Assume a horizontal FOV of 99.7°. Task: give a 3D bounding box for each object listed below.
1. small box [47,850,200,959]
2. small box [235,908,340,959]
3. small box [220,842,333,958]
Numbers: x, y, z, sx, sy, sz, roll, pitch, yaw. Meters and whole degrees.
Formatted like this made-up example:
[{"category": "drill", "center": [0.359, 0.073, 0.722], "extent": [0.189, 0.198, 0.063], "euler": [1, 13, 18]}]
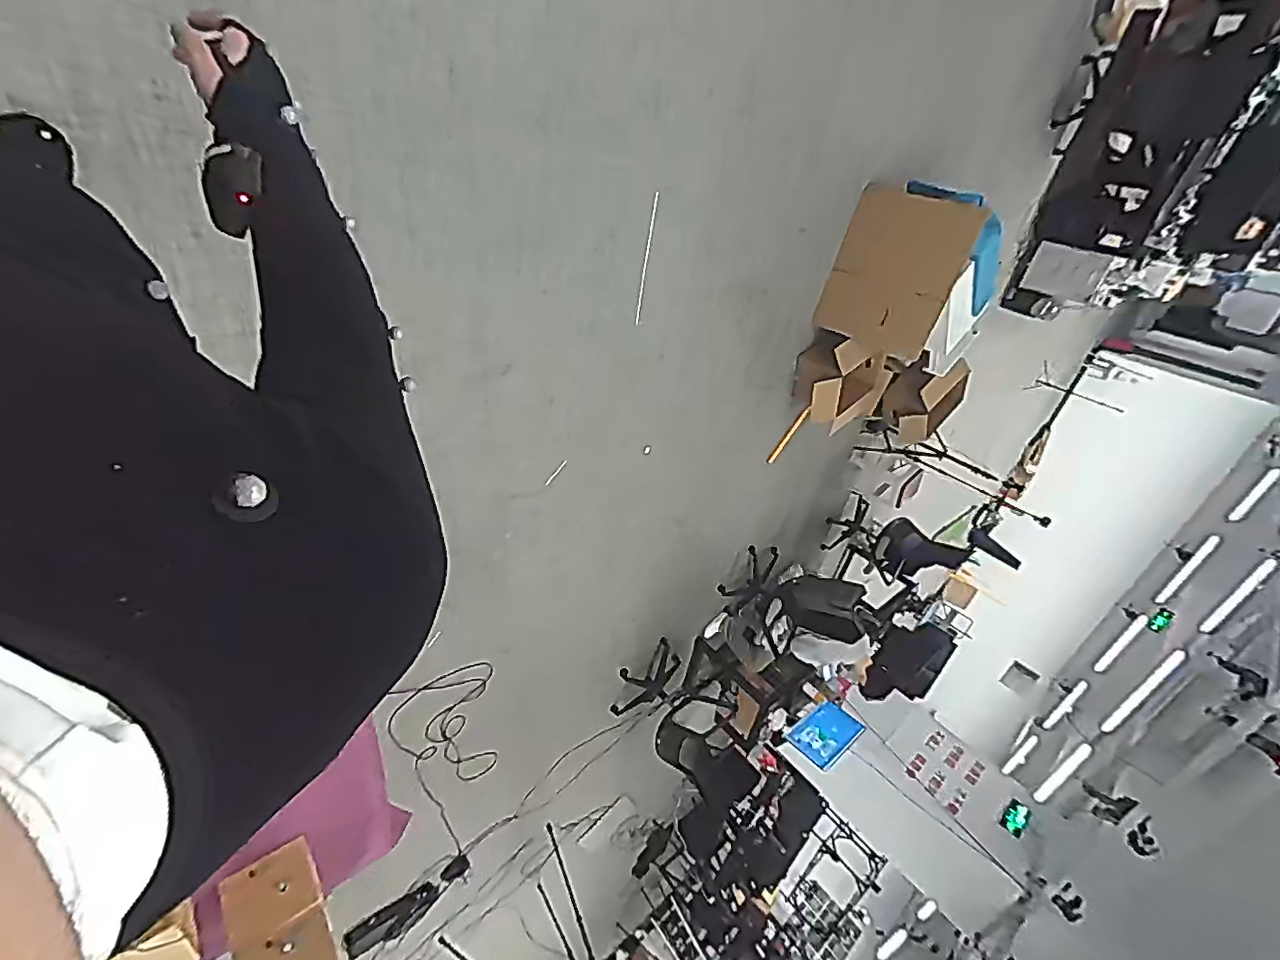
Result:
[{"category": "small box", "center": [-0.939, 0.826, 0.987], "extent": [0.168, 0.176, 0.179], "euler": [-17, 132, -38]}, {"category": "small box", "center": [-0.728, 1.061, 1.136], "extent": [0.168, 0.176, 0.179], "euler": [-16, 129, -41]}, {"category": "small box", "center": [-0.829, 0.977, 1.235], "extent": [0.168, 0.176, 0.179], "euler": [-20, 133, -38]}]
